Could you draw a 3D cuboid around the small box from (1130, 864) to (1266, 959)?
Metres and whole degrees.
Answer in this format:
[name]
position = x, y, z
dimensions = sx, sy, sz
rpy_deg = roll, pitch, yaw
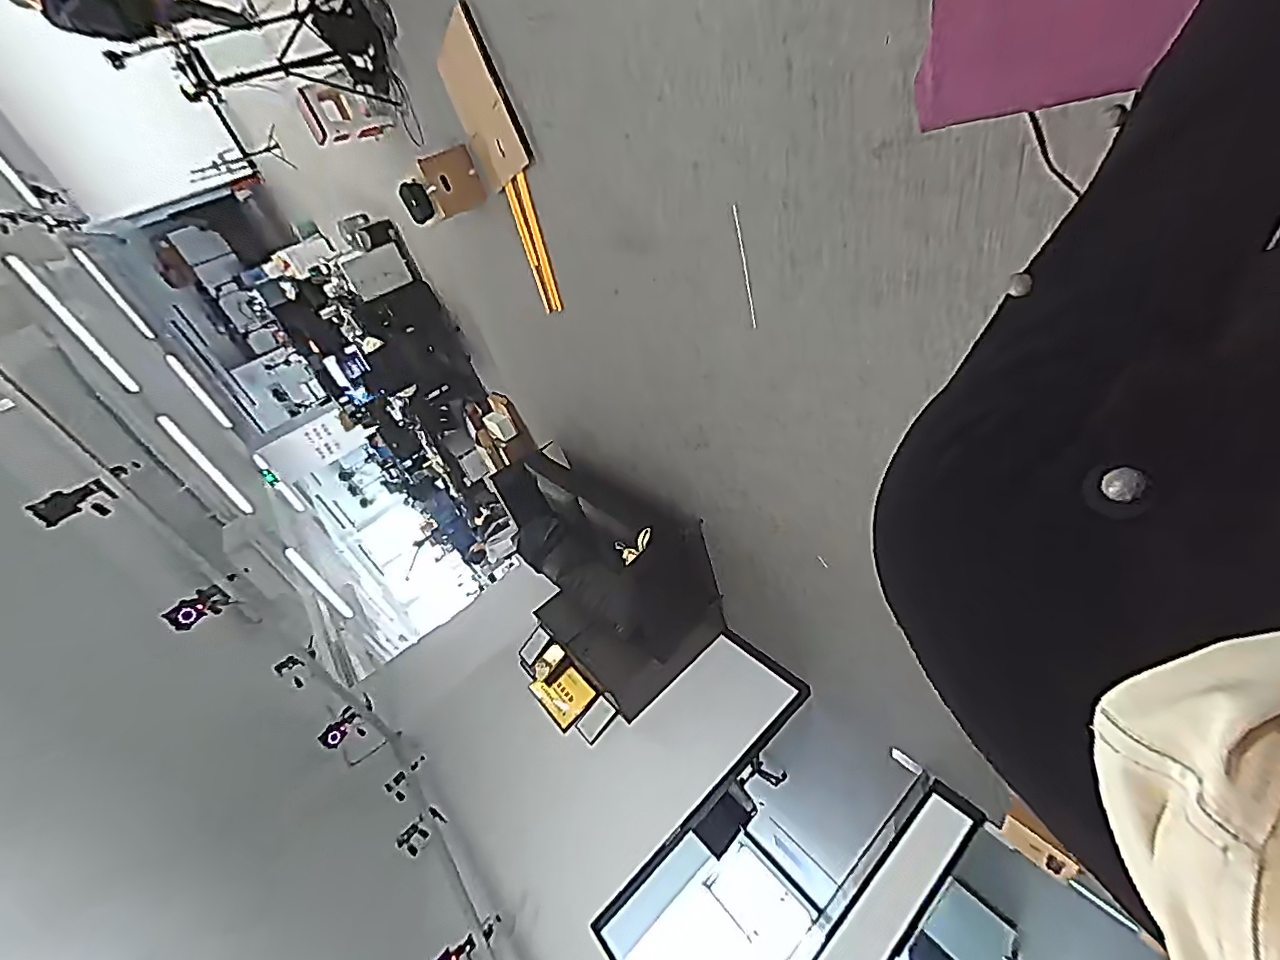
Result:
[small box]
position = 1.337, 1.078, 1.299
dimensions = 0.168, 0.176, 0.179
rpy_deg = 30, 148, 42
